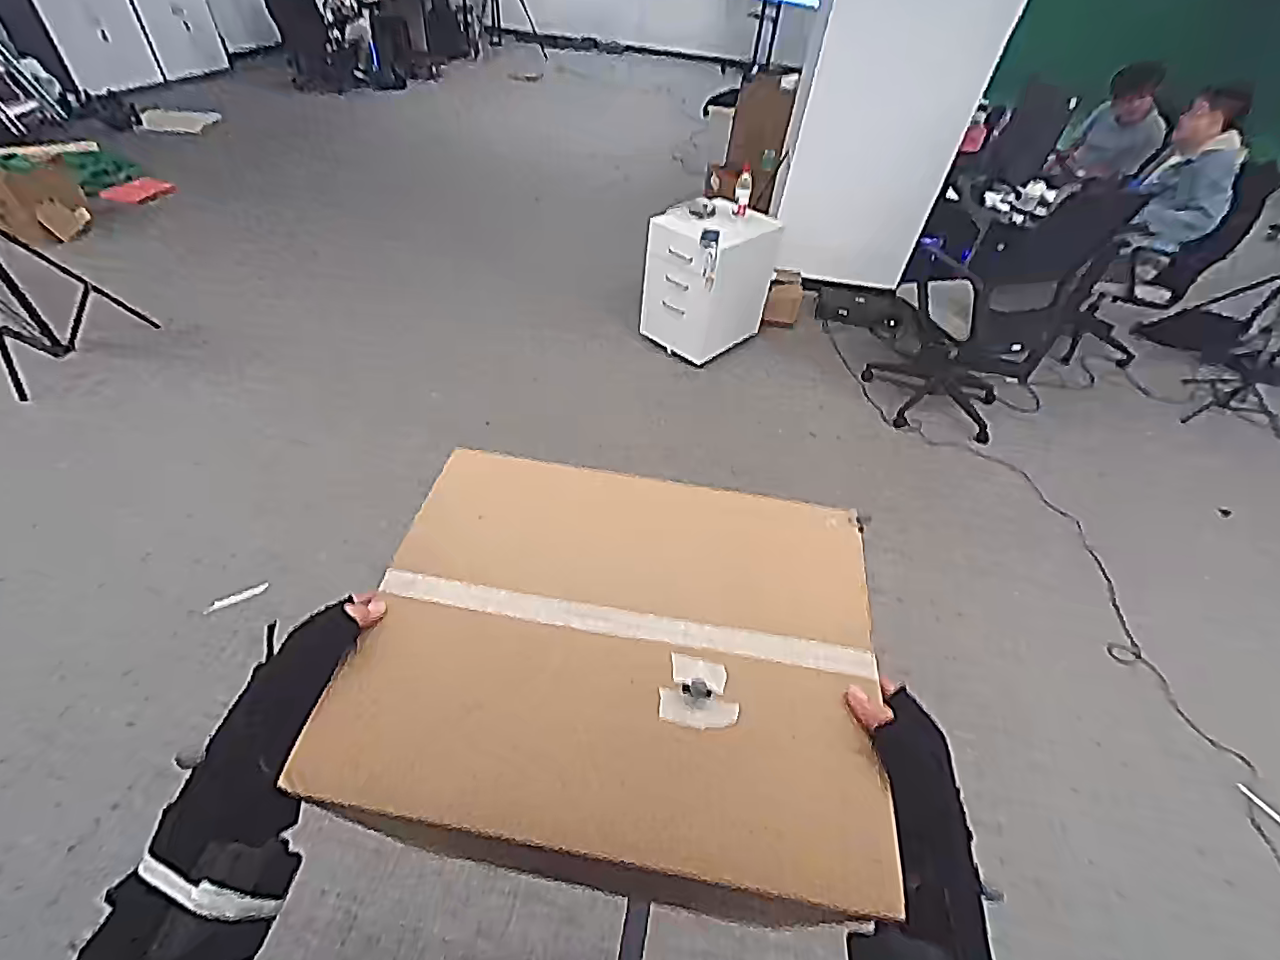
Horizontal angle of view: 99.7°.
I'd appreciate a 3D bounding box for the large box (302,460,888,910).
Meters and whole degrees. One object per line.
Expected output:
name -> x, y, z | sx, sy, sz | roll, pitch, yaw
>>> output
large box -> -0.023, 0.216, 0.563 | 0.408, 0.320, 0.320 | 9, 51, 4
